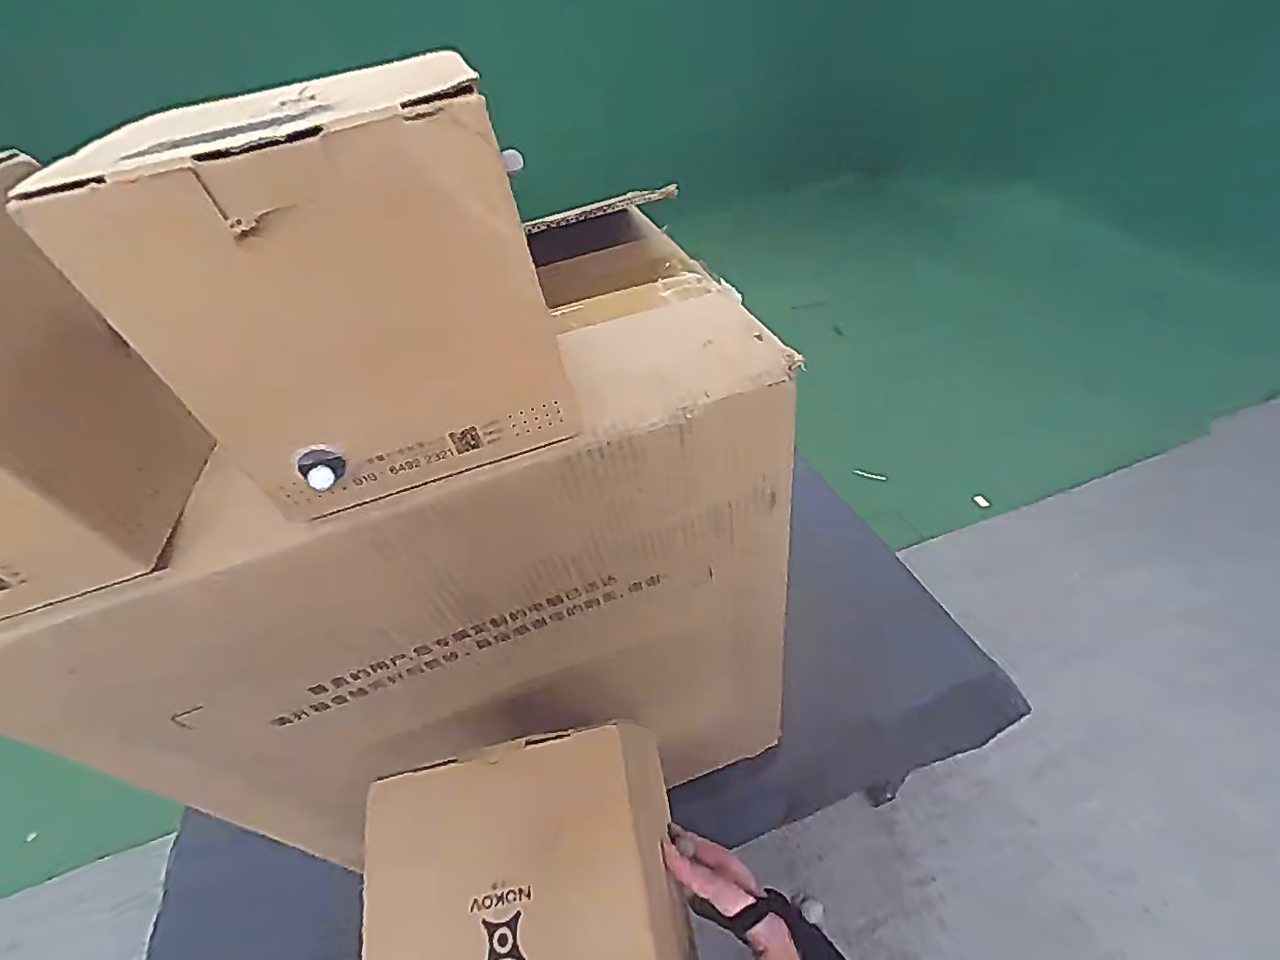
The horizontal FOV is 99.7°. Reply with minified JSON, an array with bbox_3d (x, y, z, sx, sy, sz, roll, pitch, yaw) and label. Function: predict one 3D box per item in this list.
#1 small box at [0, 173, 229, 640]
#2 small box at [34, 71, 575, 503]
[{"bbox_3d":[-0.363,-0.030,0.284,0.168,0.176,0.179,-21,45,-5],"label":"small box"},{"bbox_3d":[-0.147,-0.107,0.310,0.168,0.176,0.179,-19,43,-8],"label":"small box"}]
